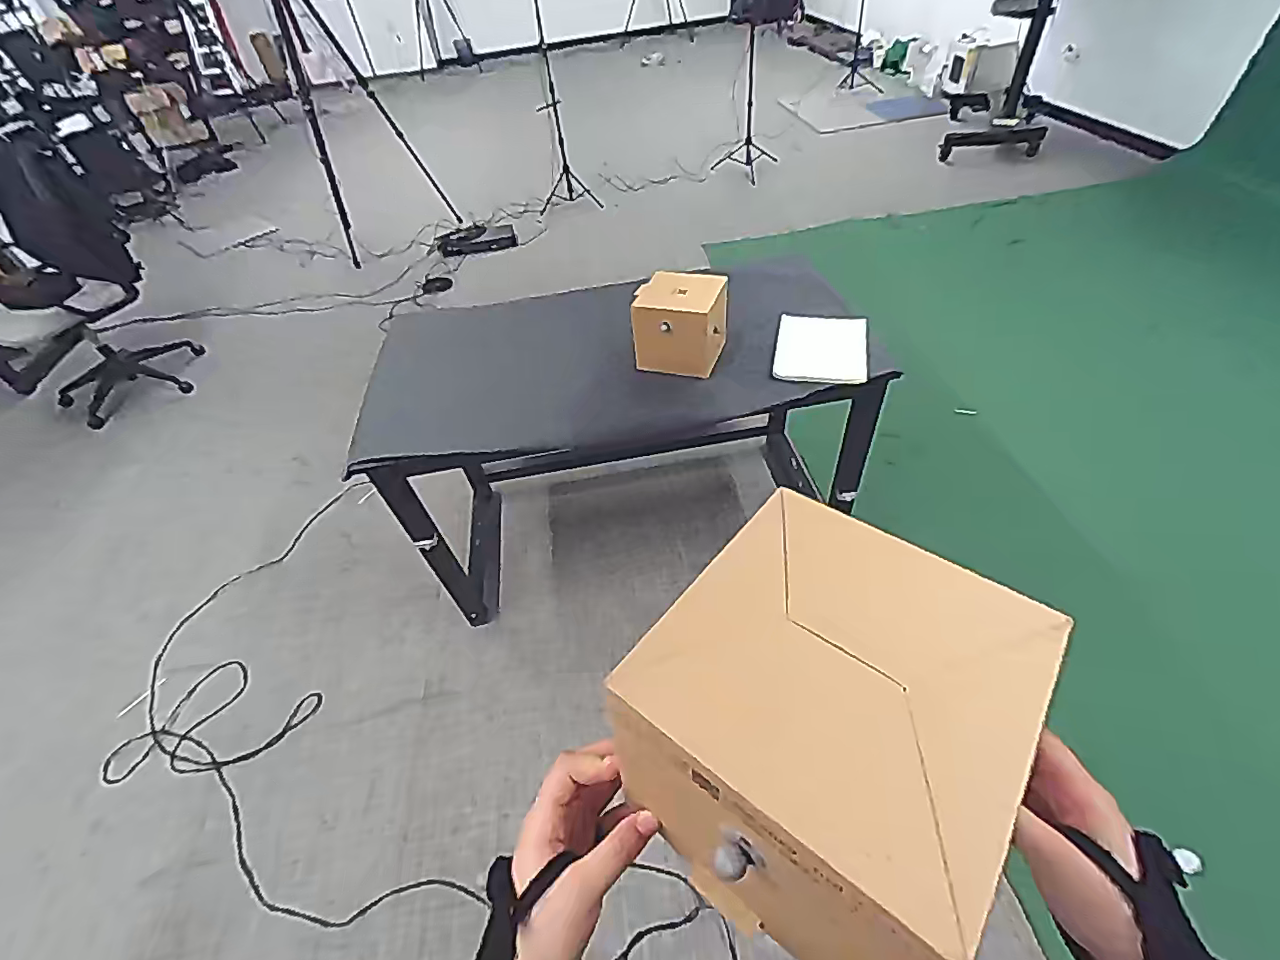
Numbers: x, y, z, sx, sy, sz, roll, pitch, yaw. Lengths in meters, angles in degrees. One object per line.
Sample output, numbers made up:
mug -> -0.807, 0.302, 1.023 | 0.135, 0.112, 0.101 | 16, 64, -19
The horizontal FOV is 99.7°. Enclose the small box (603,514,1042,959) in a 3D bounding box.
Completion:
small box -> 0.097, 0.142, 0.318 | 0.168, 0.176, 0.179 | 28, 50, 30

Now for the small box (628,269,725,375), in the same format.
small box -> 0.090, -0.361, 1.242 | 0.179, 0.176, 0.168 | 11, 50, 19
